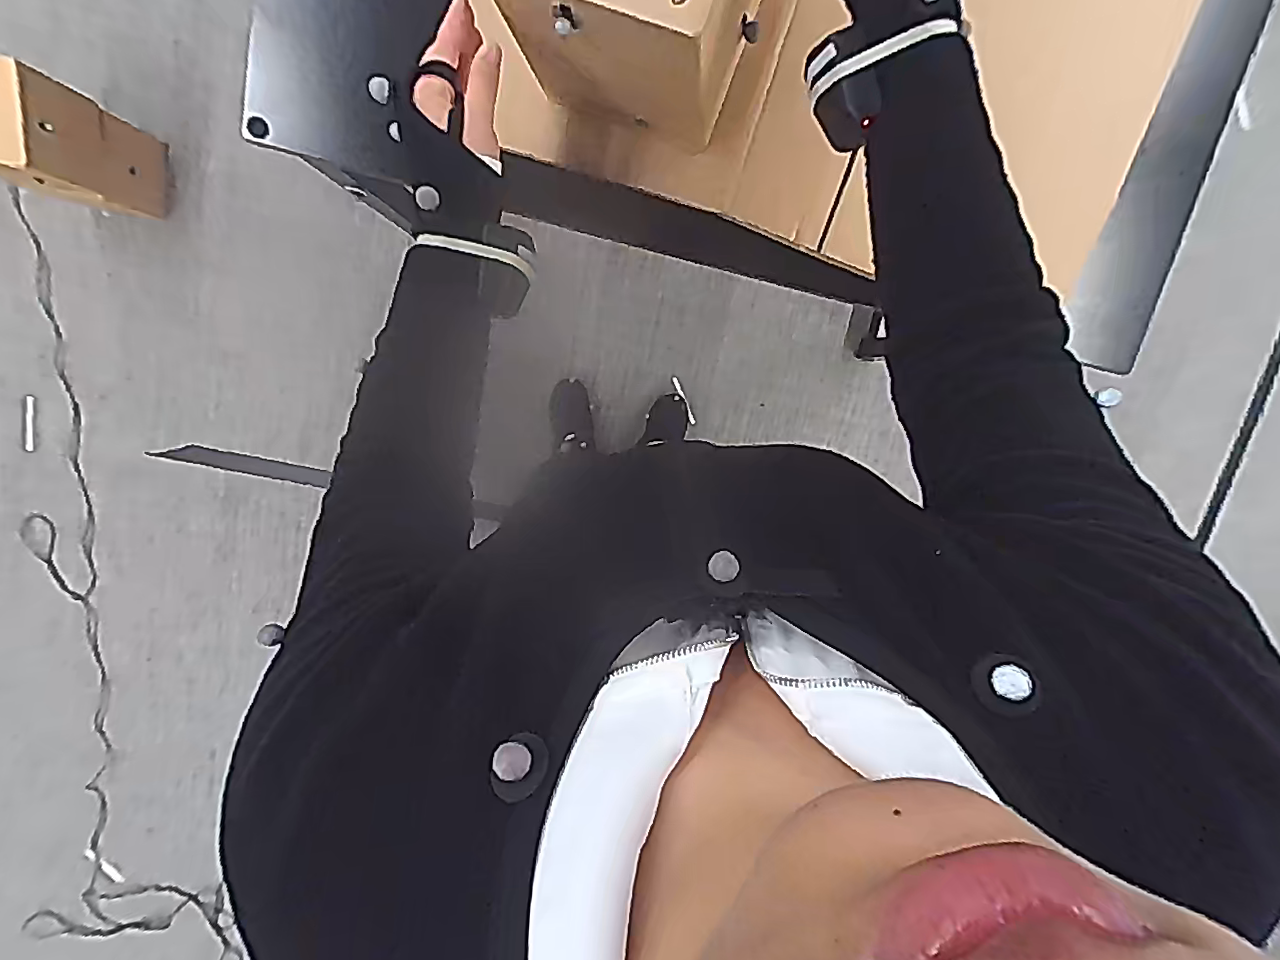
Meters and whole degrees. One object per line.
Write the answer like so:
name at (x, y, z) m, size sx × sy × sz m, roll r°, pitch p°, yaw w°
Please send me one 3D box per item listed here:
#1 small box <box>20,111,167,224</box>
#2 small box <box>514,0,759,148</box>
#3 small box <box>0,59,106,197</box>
small box at (-1.168, -0.678, 1.165) m, size 0.168 × 0.176 × 0.179 m, roll 7°, pitch 102°, yaw -7°
small box at (0.006, -0.409, 0.424) m, size 0.168 × 0.176 × 0.179 m, roll 22°, pitch 100°, yaw 4°
small box at (-1.153, -0.650, 1.005) m, size 0.168 × 0.176 × 0.179 m, roll 4°, pitch 100°, yaw -7°
